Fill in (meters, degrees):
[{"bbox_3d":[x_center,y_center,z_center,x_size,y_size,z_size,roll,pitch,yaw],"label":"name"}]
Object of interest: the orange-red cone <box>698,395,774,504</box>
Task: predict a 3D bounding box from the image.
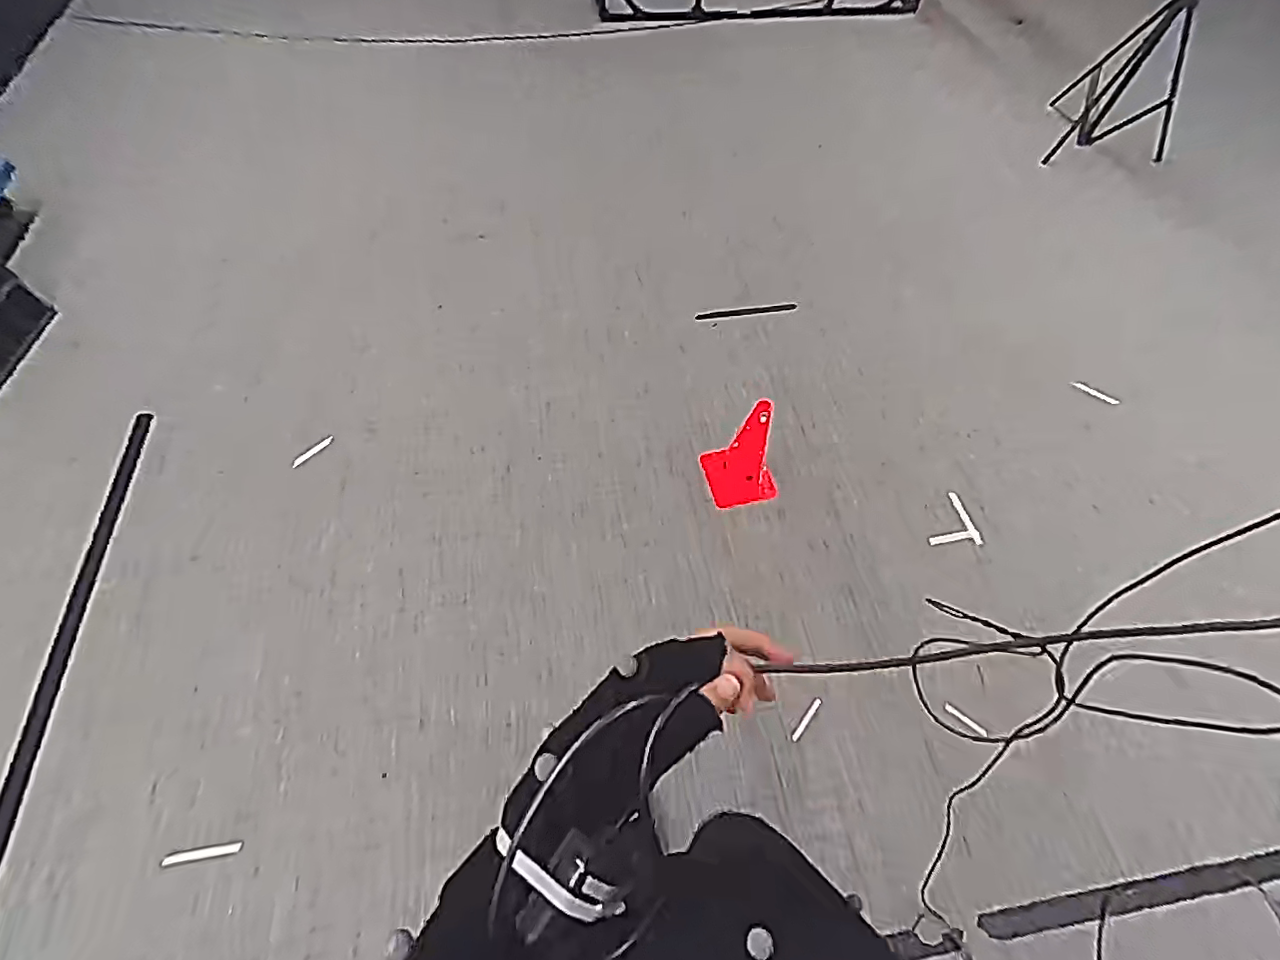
[{"bbox_3d":[0.294,-0.109,1.495,0.199,0.360,0.198,-12,61,-7],"label":"orange-red cone"}]
